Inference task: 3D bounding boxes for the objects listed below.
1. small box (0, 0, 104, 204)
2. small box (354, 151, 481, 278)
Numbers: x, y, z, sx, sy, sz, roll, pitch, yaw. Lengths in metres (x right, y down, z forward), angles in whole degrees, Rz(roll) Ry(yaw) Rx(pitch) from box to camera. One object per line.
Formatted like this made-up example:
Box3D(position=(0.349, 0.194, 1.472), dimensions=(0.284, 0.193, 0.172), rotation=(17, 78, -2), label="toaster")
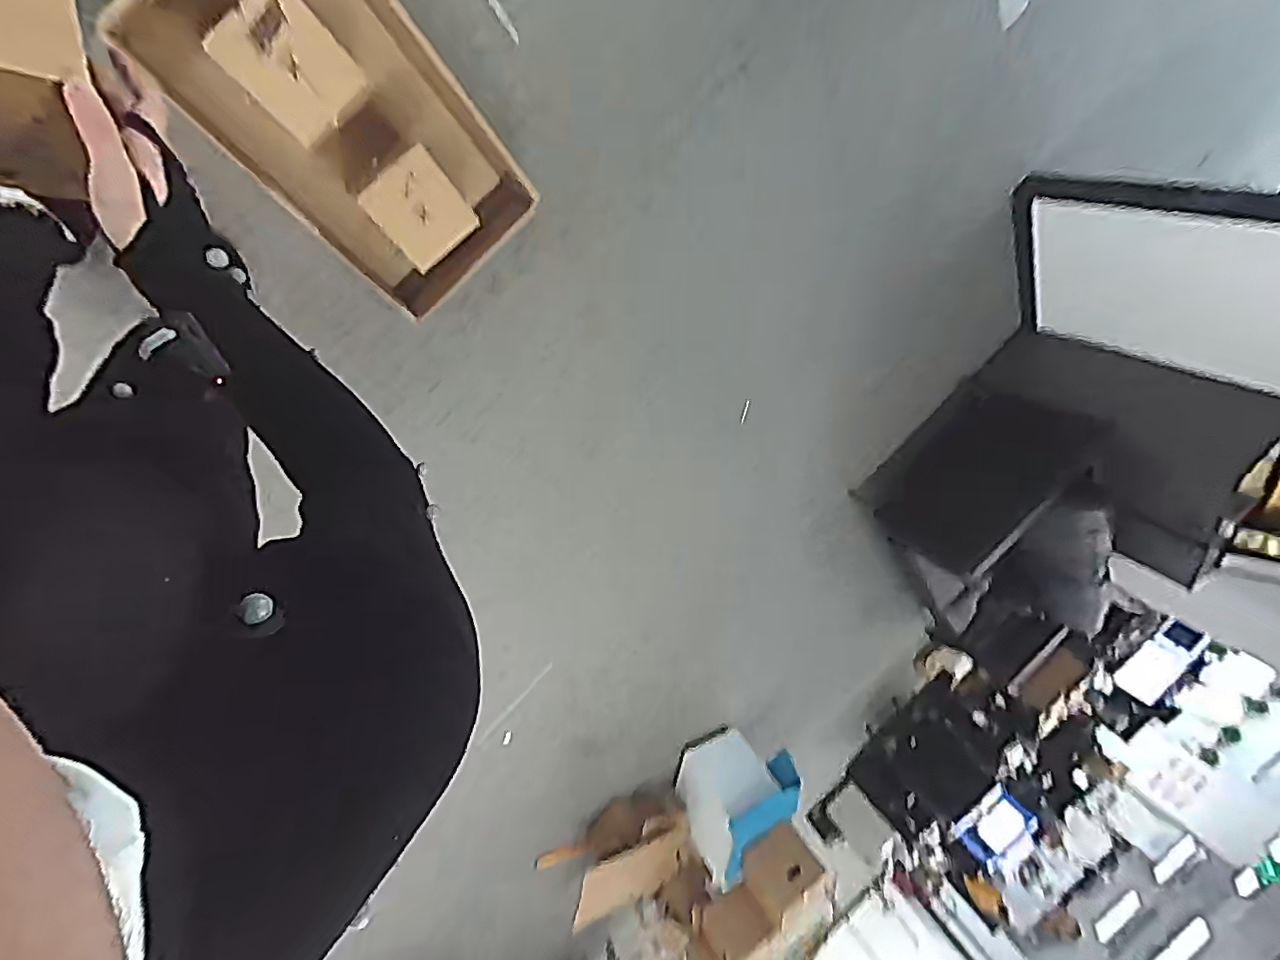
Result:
Box3D(position=(-0.518, -0.328, 0.384), dimensions=(0.168, 0.176, 0.179), rotation=(-13, 90, -40), label="small box")
Box3D(position=(-0.472, -0.566, 1.145), dimensions=(0.168, 0.176, 0.179), rotation=(-42, 133, -3), label="small box")
